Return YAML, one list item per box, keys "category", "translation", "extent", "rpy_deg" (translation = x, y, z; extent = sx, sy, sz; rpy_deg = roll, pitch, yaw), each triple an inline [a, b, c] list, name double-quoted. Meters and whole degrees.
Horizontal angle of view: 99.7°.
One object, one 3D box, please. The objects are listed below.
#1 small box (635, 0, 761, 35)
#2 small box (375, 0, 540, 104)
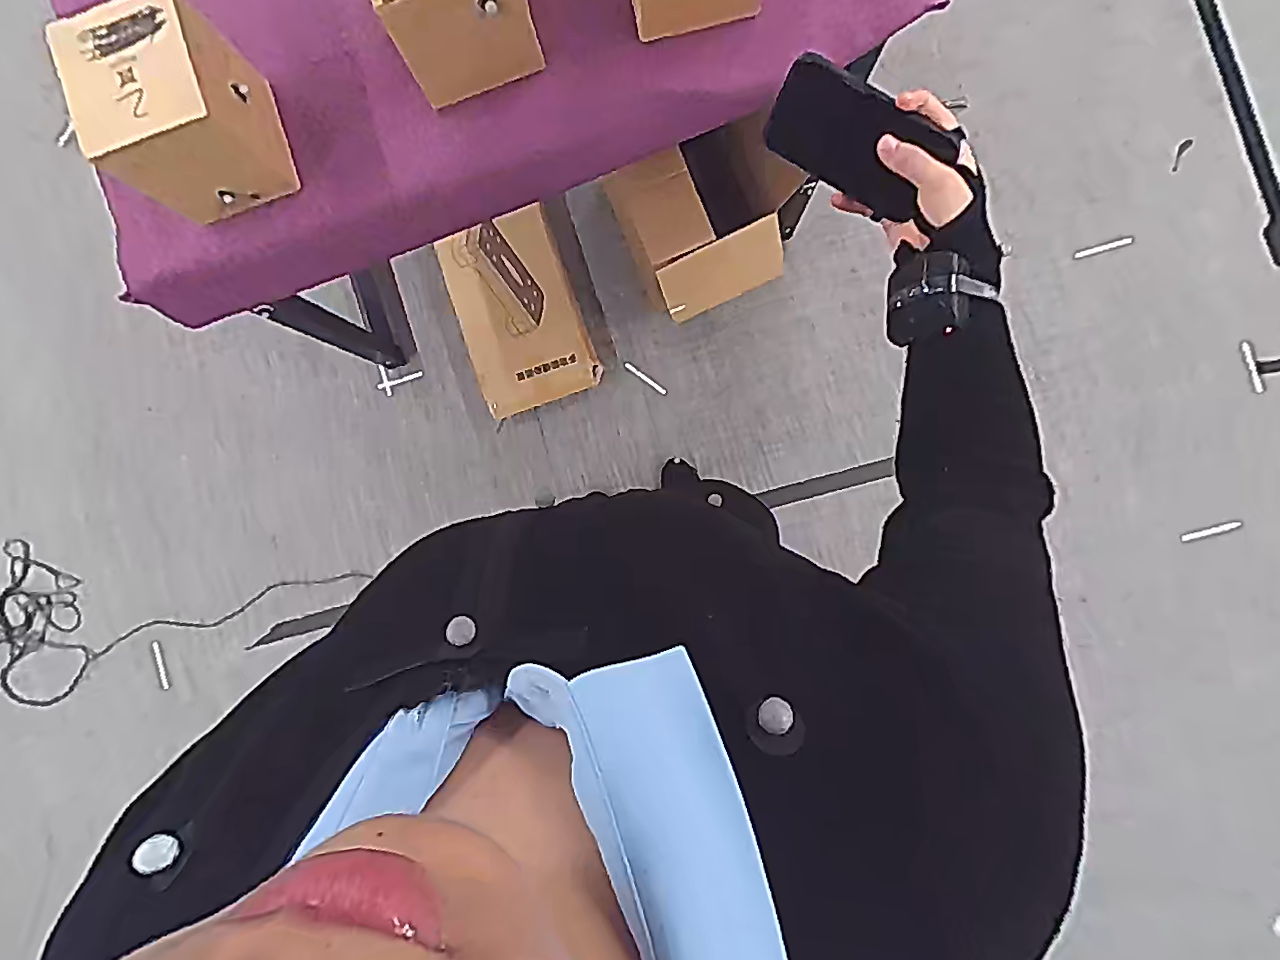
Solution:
- category: "small box"
  translation: [0.068, -0.721, 0.689]
  extent: [0.179, 0.176, 0.168]
  rpy_deg: [-11, 89, 2]
- category: "small box"
  translation: [-0.241, -0.644, 0.702]
  extent: [0.179, 0.176, 0.168]
  rpy_deg: [-18, 86, 3]
